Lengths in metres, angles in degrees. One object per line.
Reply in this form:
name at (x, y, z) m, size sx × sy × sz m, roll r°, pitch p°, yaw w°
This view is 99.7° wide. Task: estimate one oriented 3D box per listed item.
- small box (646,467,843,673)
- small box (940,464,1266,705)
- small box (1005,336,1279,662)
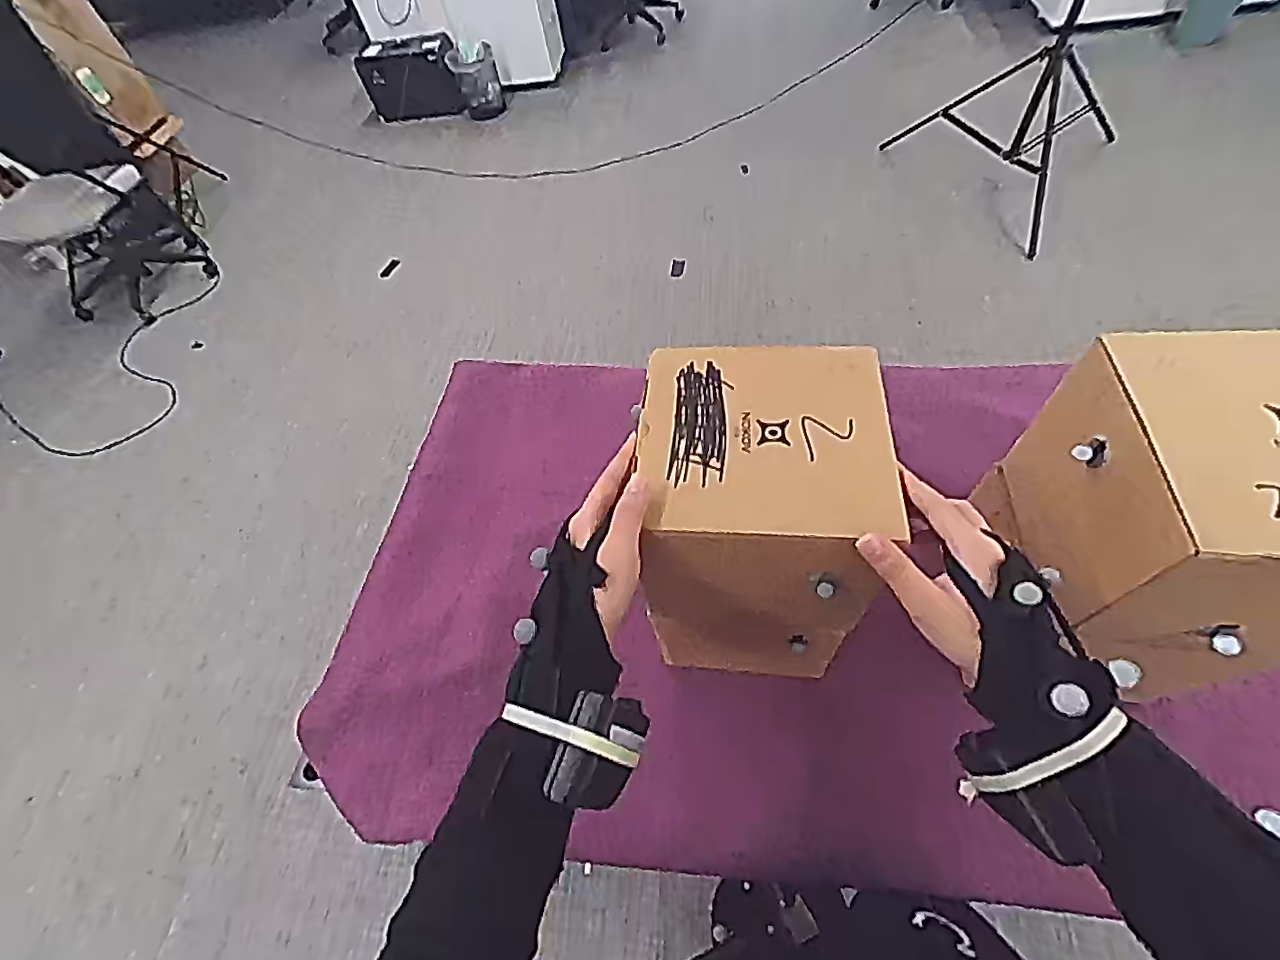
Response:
small box at (0.109, 0.102, 0.586) m, size 0.179 × 0.176 × 0.168 m, roll 2°, pitch 57°, yaw 9°
small box at (0.419, 0.106, 0.535) m, size 0.168 × 0.176 × 0.179 m, roll 3°, pitch 58°, yaw 10°
small box at (0.403, 0.016, 0.398) m, size 0.168 × 0.176 × 0.179 m, roll 2°, pitch 57°, yaw 11°
